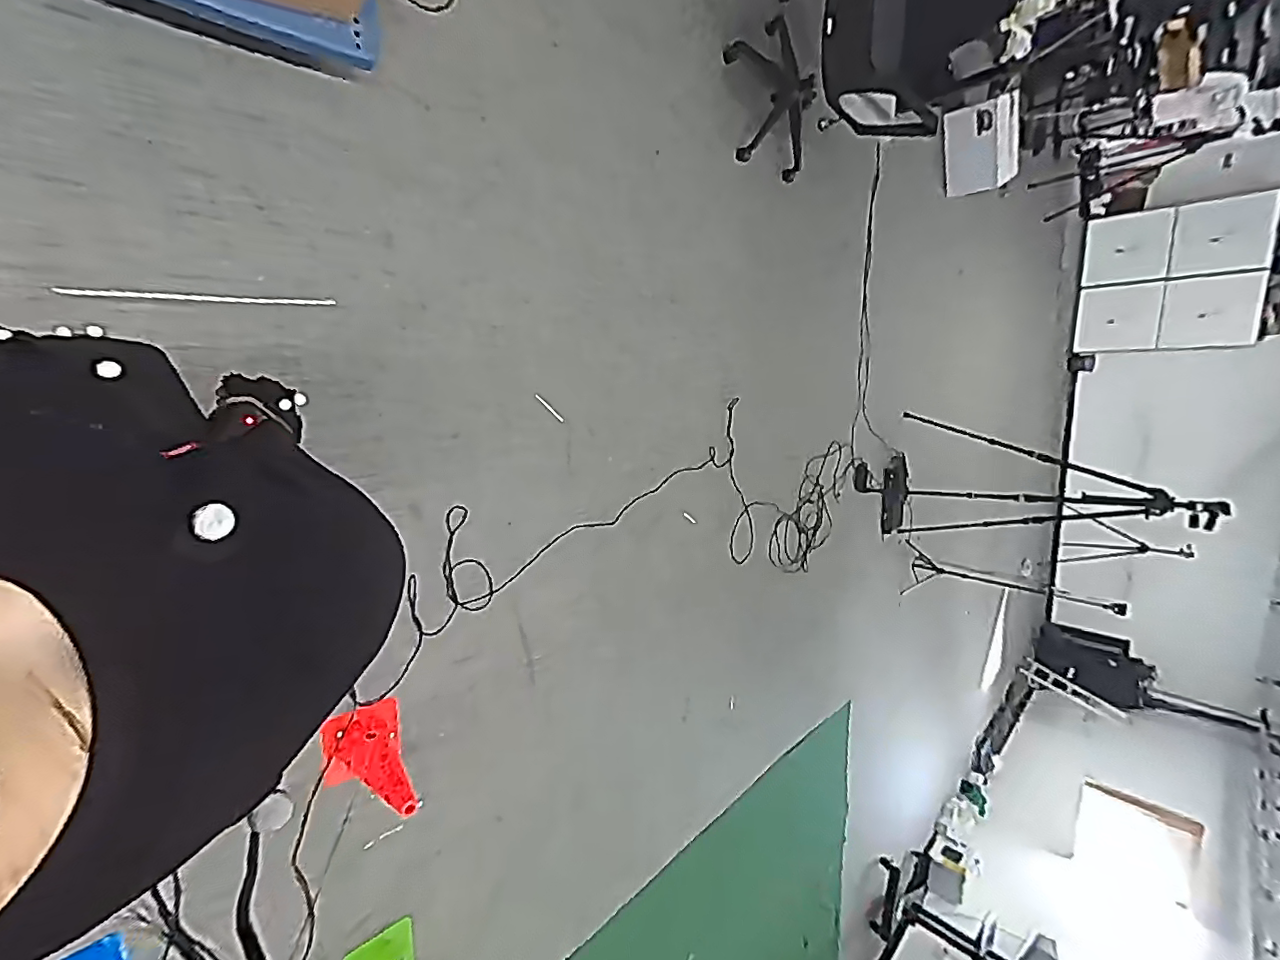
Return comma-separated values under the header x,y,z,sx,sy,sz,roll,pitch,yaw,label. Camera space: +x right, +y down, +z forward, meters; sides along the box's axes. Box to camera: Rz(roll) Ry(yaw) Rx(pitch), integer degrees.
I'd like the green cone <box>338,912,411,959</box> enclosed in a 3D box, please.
x,y,z,sx,sy,sz,roll,pitch,yaw,label
-0.677,1.461,1.509,0.200,0.368,0.202,-10,103,-43,green cone

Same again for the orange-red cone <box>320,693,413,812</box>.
x,y,z,sx,sy,sz,roll,pitch,yaw,label
-0.670,0.738,1.396,0.198,0.360,0.199,-6,103,-43,orange-red cone
